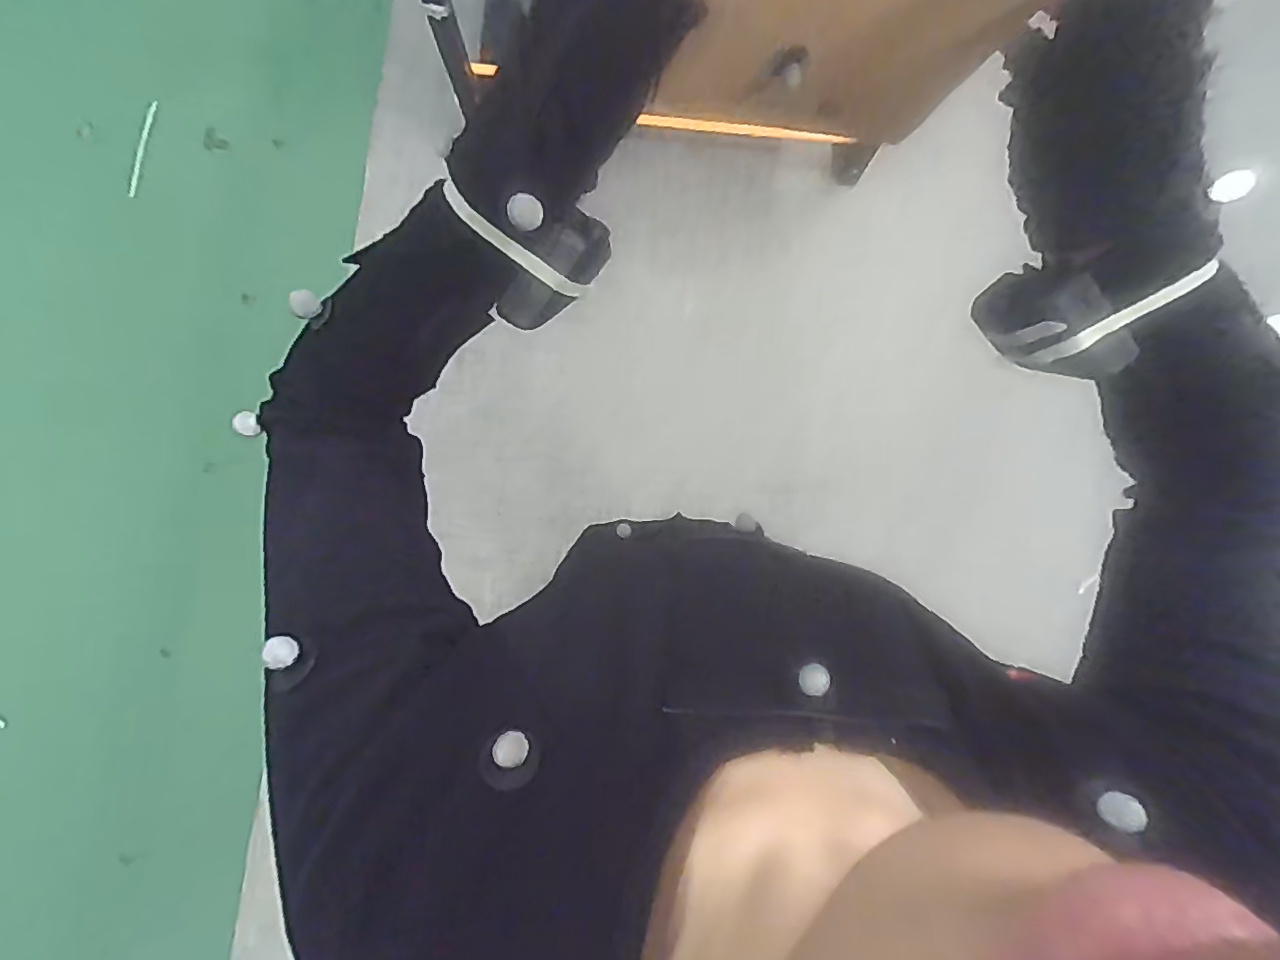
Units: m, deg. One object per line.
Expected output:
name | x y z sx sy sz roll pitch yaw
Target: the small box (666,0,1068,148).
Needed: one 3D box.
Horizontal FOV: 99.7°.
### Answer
small box | 0.110 -0.302 0.258 0.168 0.176 0.179 3 93 -7
